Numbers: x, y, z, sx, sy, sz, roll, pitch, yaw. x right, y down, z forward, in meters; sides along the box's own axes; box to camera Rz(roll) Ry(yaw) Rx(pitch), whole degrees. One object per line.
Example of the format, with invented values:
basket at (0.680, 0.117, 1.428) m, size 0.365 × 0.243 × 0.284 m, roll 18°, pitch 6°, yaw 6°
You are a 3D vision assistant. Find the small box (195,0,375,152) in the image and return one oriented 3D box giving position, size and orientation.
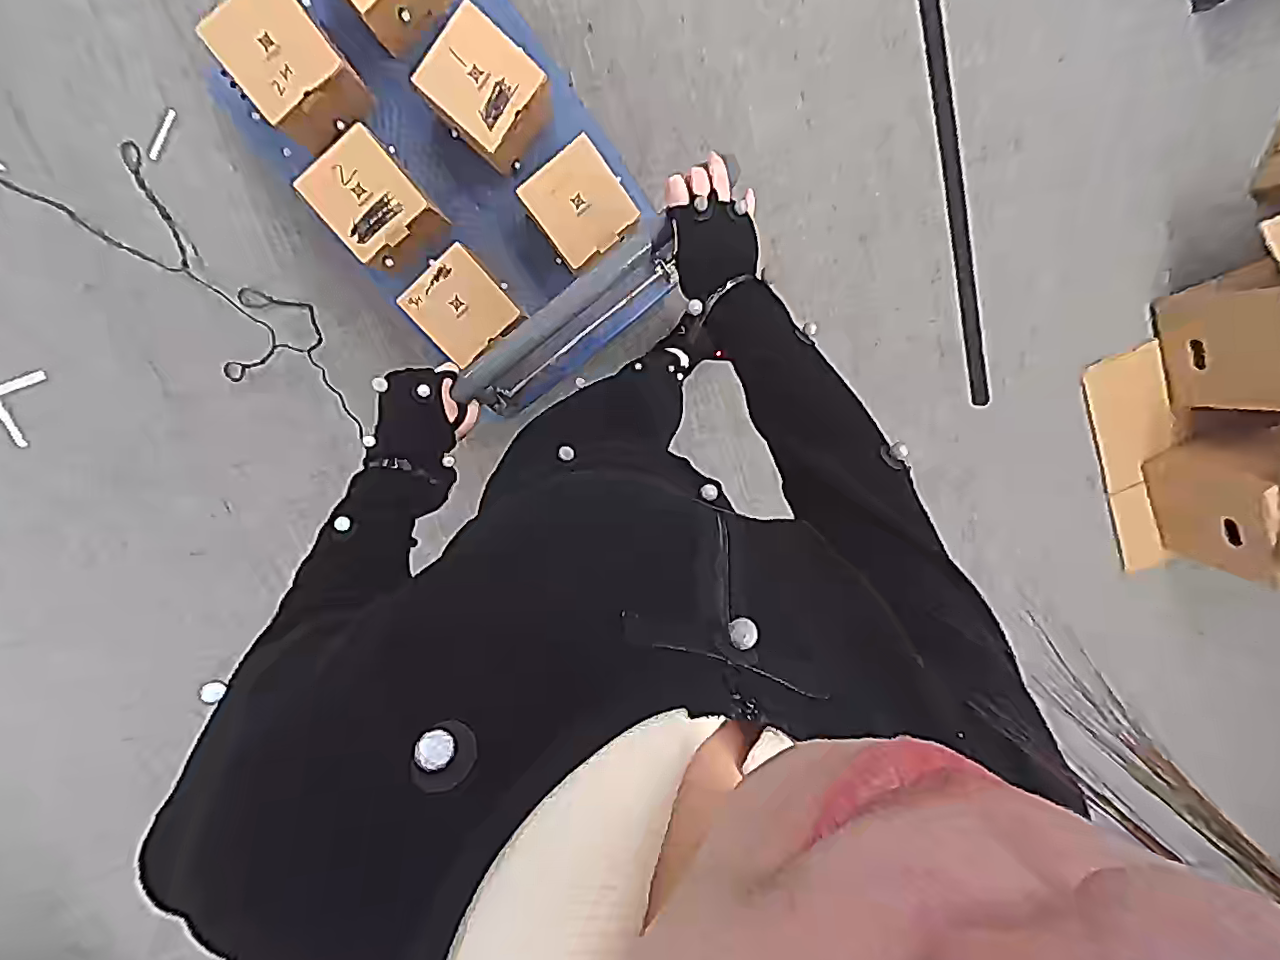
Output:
small box at (-0.628, -0.745, 0.982) m, size 0.168 × 0.176 × 0.179 m, roll -36°, pitch 106°, yaw 5°

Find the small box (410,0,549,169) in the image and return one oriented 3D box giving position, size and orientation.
small box at (-0.288, -0.723, 1.019) m, size 0.179 × 0.176 × 0.168 m, roll 38°, pitch 98°, yaw -12°

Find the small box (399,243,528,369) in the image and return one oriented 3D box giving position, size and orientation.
small box at (-0.349, -0.352, 1.111) m, size 0.168 × 0.176 × 0.179 m, roll -42°, pitch 105°, yaw 5°

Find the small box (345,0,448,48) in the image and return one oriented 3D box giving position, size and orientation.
small box at (-0.469, -0.916, 0.953) m, size 0.168 × 0.176 × 0.179 m, roll -41°, pitch 104°, yaw 6°

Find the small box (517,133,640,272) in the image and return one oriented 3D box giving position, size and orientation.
small box at (-0.118, -0.539, 1.084) m, size 0.168 × 0.176 × 0.179 m, roll -38°, pitch 104°, yaw 5°
